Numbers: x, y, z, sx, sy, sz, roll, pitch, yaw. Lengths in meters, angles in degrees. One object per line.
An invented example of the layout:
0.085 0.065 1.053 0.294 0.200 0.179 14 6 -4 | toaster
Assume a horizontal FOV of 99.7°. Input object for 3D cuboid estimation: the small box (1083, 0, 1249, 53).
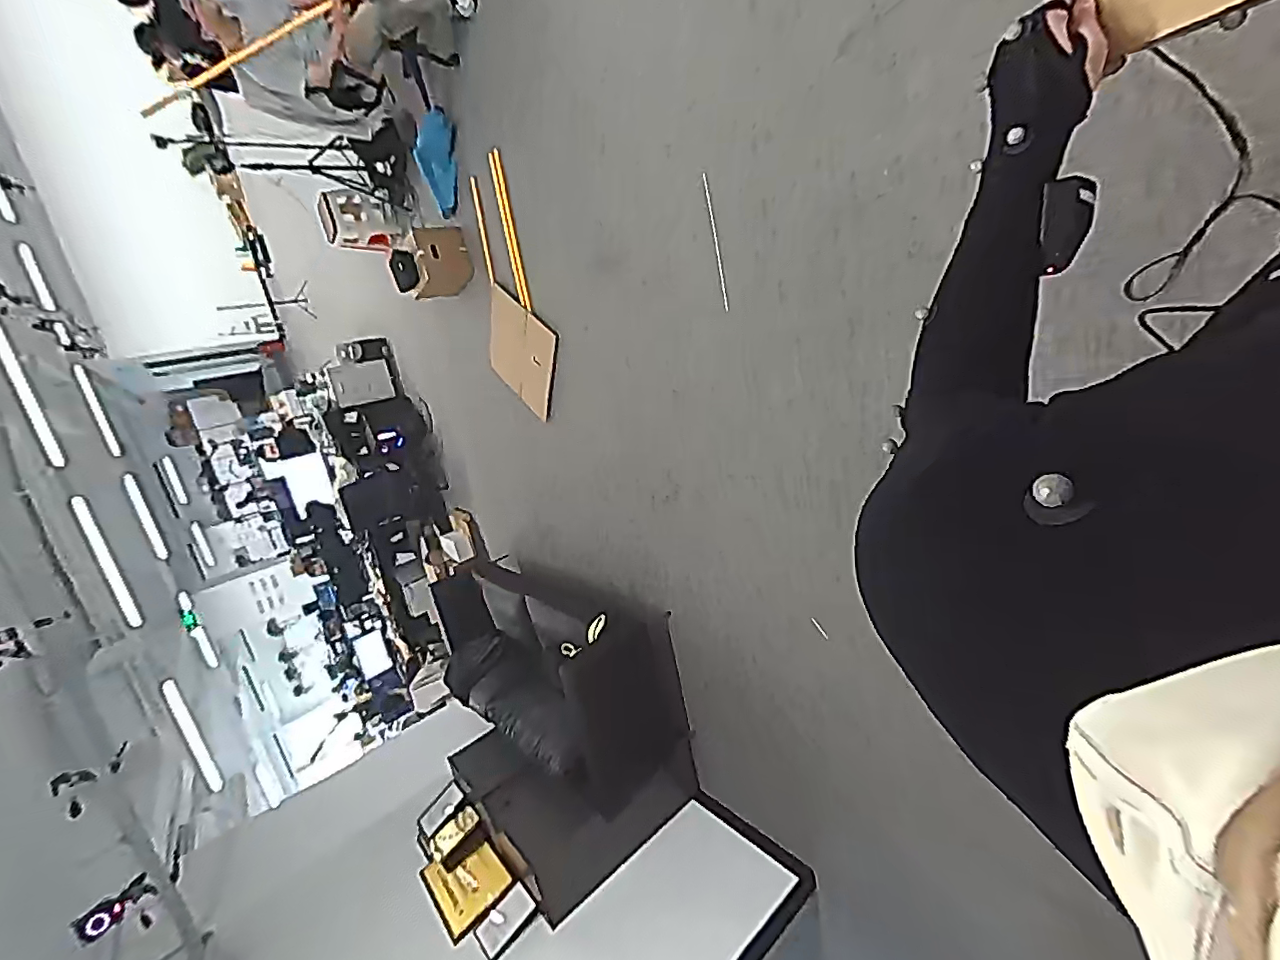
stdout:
0.476 -0.471 0.414 0.179 0.176 0.168 10 126 56 | small box
